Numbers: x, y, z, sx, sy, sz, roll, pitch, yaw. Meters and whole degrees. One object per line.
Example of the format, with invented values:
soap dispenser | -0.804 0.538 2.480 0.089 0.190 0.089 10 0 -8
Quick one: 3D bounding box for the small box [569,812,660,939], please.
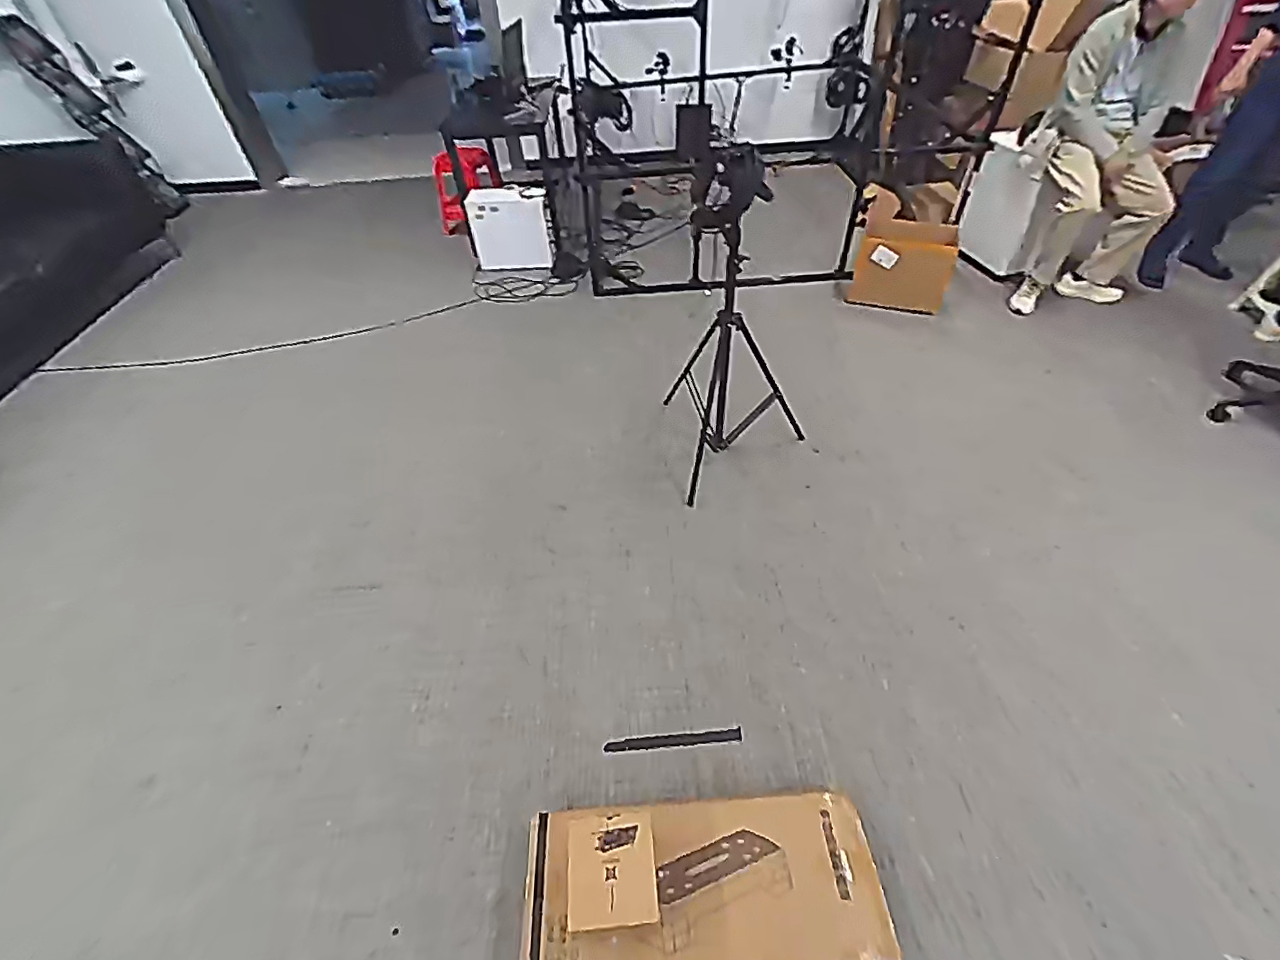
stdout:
small box | -0.049 0.789 1.077 0.168 0.176 0.179 -5 46 -1
